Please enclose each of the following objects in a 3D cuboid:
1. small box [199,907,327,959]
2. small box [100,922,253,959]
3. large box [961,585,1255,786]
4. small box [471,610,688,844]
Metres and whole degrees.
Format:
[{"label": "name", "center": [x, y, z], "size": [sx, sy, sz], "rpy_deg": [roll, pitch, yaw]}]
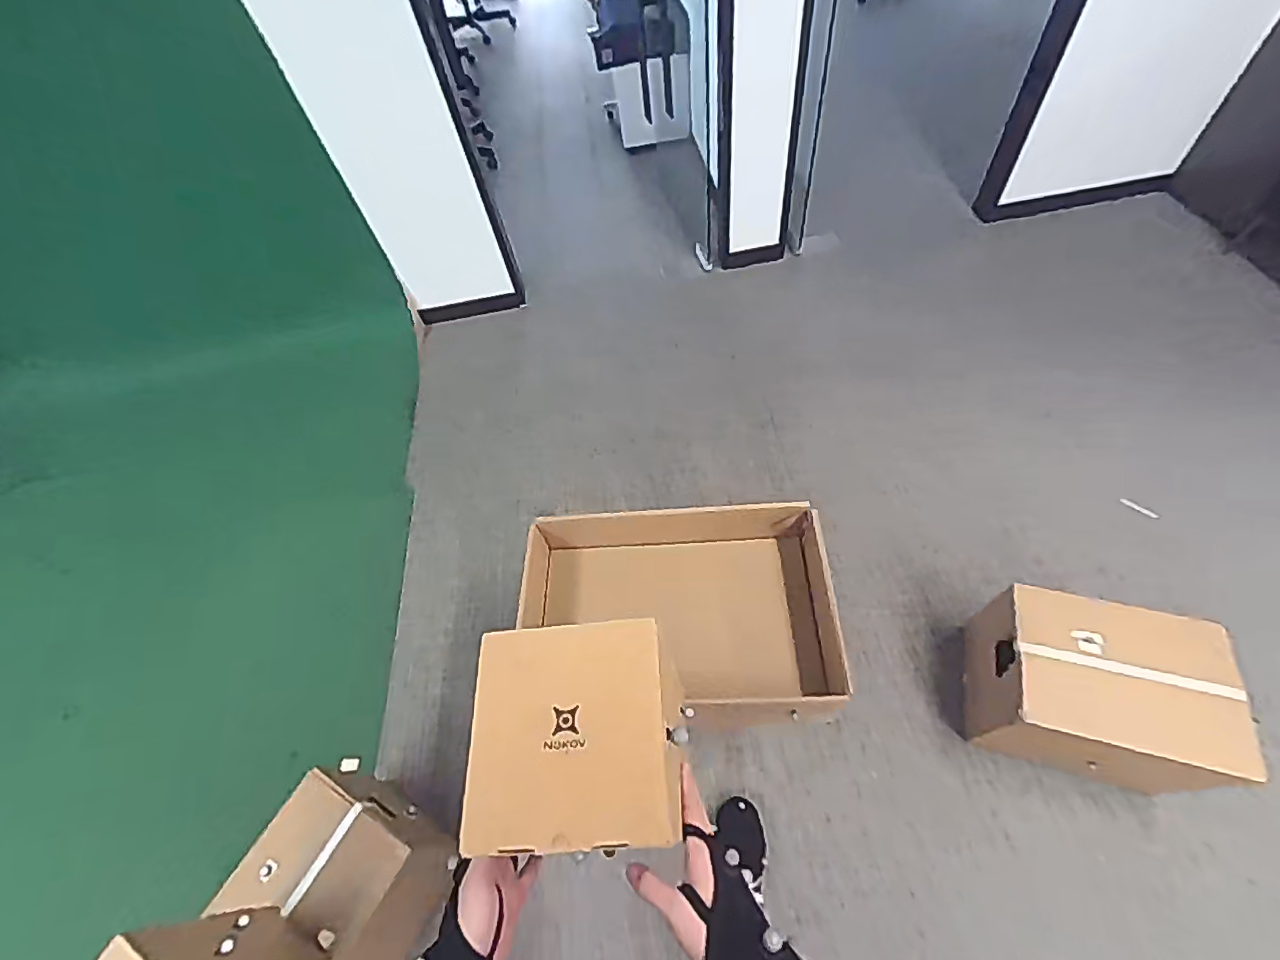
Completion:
[{"label": "small box", "center": [-0.688, 0.865, 0.918], "size": [0.179, 0.176, 0.168], "rpy_deg": [22, 62, 19]}, {"label": "small box", "center": [-0.695, 0.779, 0.778], "size": [0.179, 0.176, 0.168], "rpy_deg": [21, 62, 19]}, {"label": "large box", "center": [1.015, 0.476, 1.247], "size": [0.408, 0.320, 0.320], "rpy_deg": [10, 58, 15]}, {"label": "small box", "center": [-0.046, 0.243, 0.525], "size": [0.168, 0.176, 0.179], "rpy_deg": [-7, 59, 4]}]
